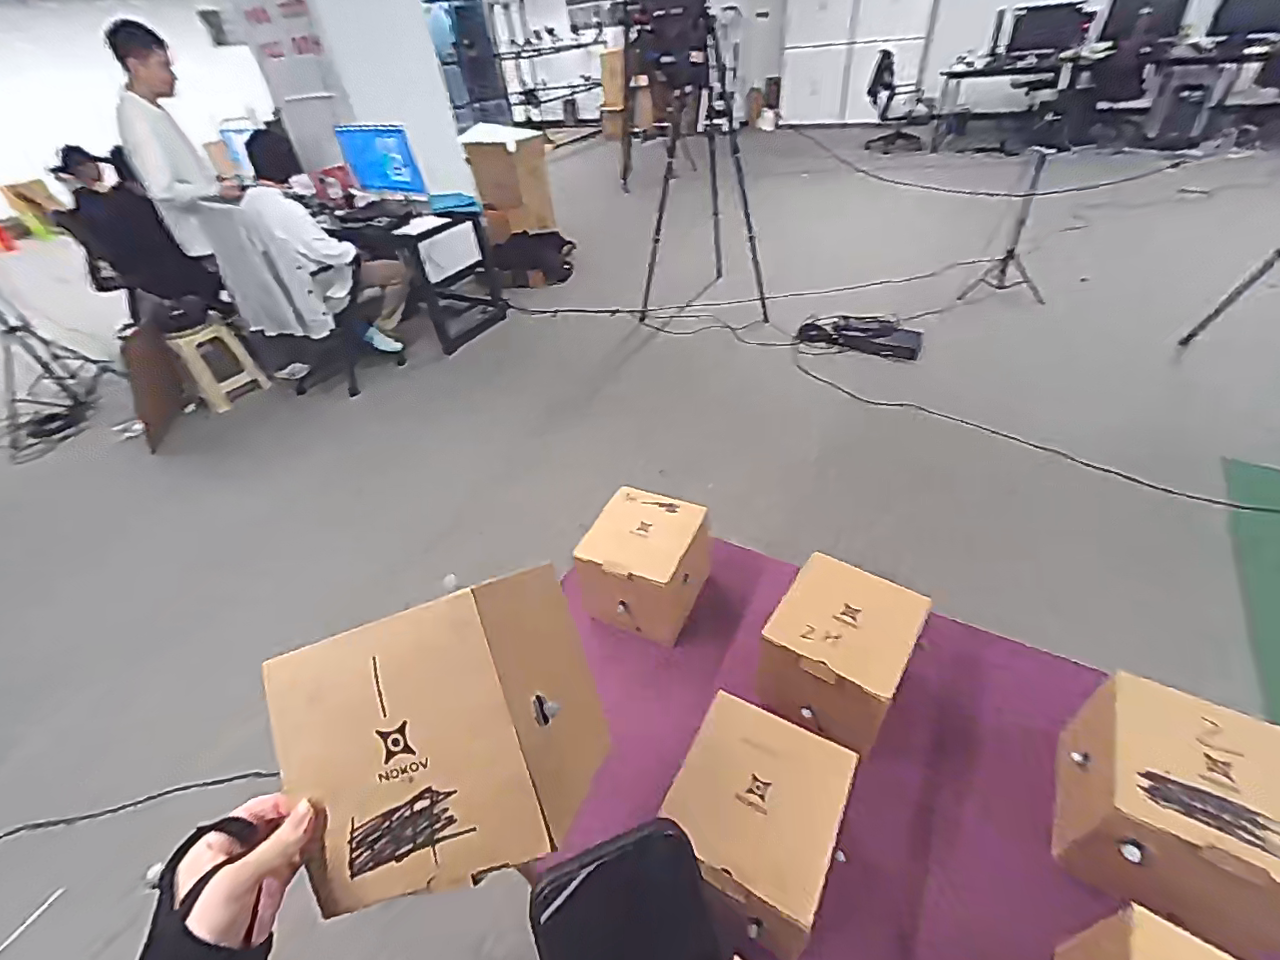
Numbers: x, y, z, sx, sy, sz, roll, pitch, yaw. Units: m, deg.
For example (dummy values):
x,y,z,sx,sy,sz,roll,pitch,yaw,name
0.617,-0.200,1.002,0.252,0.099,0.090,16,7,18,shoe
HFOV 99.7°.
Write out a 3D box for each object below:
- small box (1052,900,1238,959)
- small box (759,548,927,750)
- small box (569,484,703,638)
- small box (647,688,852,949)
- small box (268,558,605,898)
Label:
x,y,z,sx,sy,sz,roll,pitch,yaw,name
0.449,0.501,0.436,0.168,0.176,0.179,21,49,30,small box
0.277,0.237,0.767,0.168,0.176,0.179,23,50,31,small box
0.006,0.139,0.922,0.168,0.176,0.179,15,46,23,small box
0.127,0.386,0.621,0.168,0.176,0.179,18,46,26,small box
-0.142,0.175,0.435,0.168,0.179,0.176,-20,-5,8,small box
